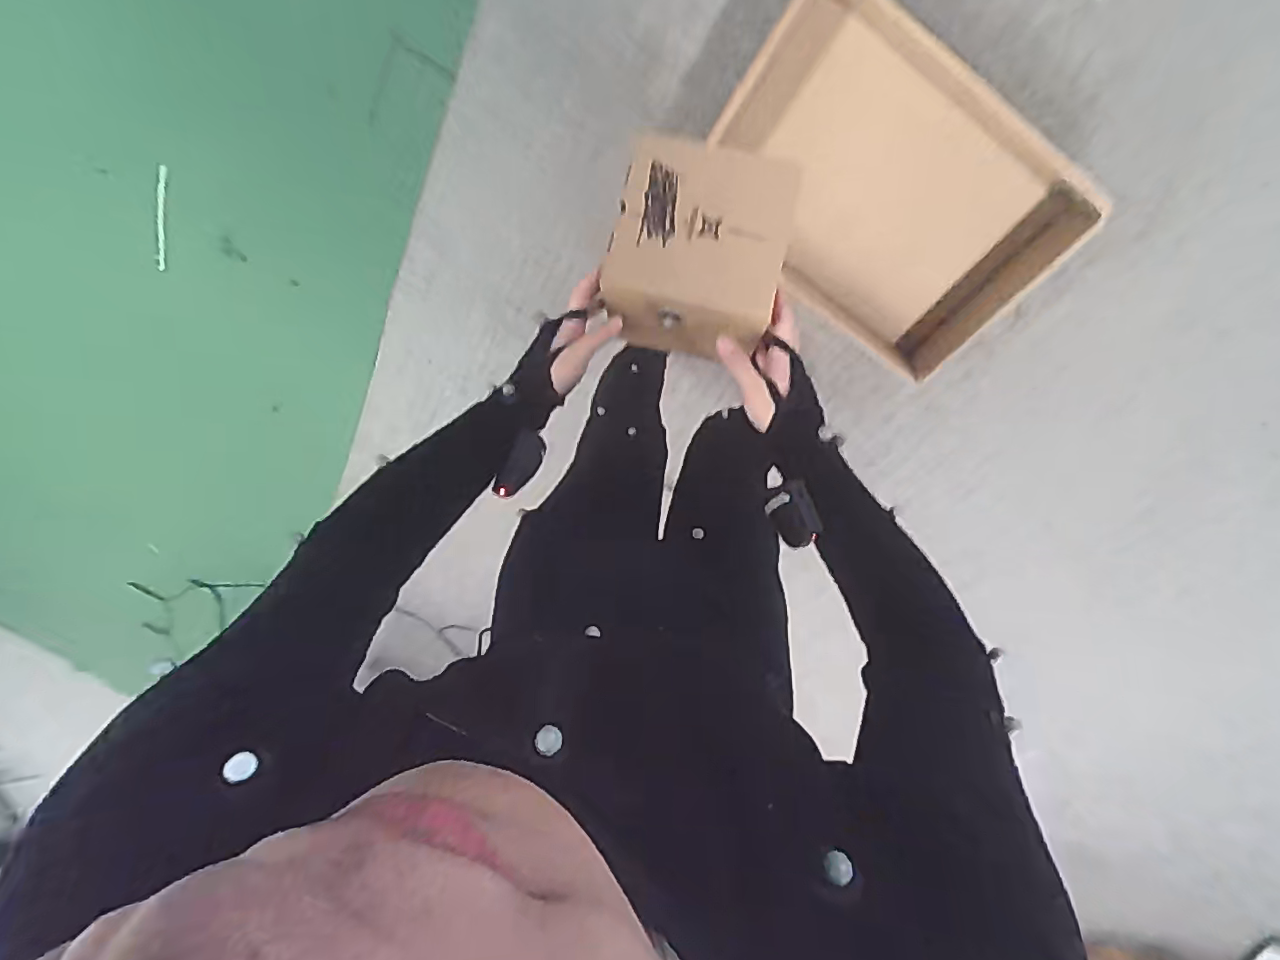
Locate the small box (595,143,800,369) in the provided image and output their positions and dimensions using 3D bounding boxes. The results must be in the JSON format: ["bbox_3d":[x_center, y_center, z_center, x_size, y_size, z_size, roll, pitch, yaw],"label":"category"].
[{"bbox_3d":[0.061,-0.239,0.618,0.179,0.176,0.168,13,86,3],"label":"small box"}]
